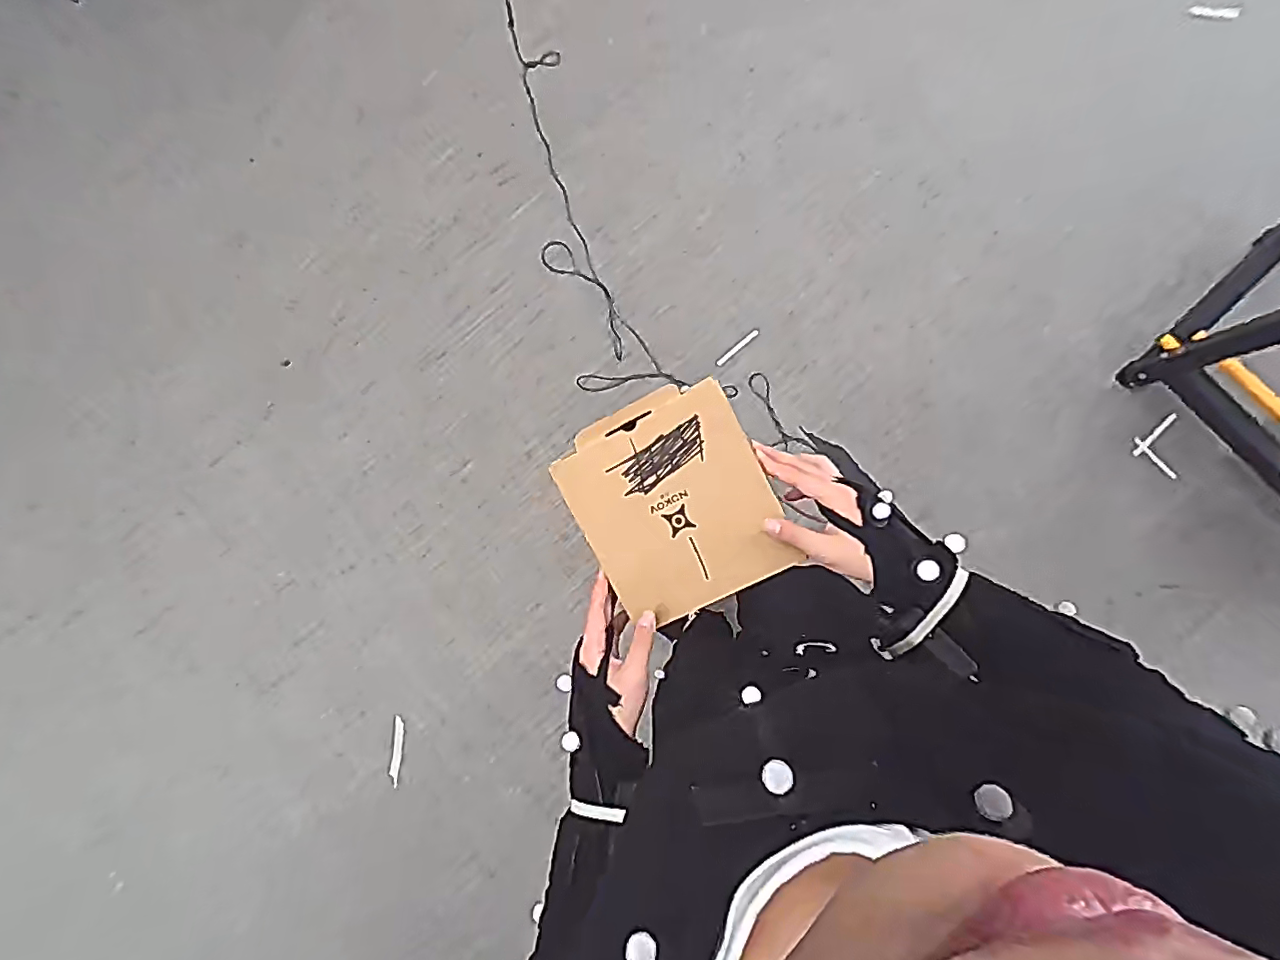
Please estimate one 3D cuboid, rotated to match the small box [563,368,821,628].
[{"bbox_3d":[0.051,0.011,0.534,0.168,0.176,0.179,-27,92,11],"label":"small box"}]
